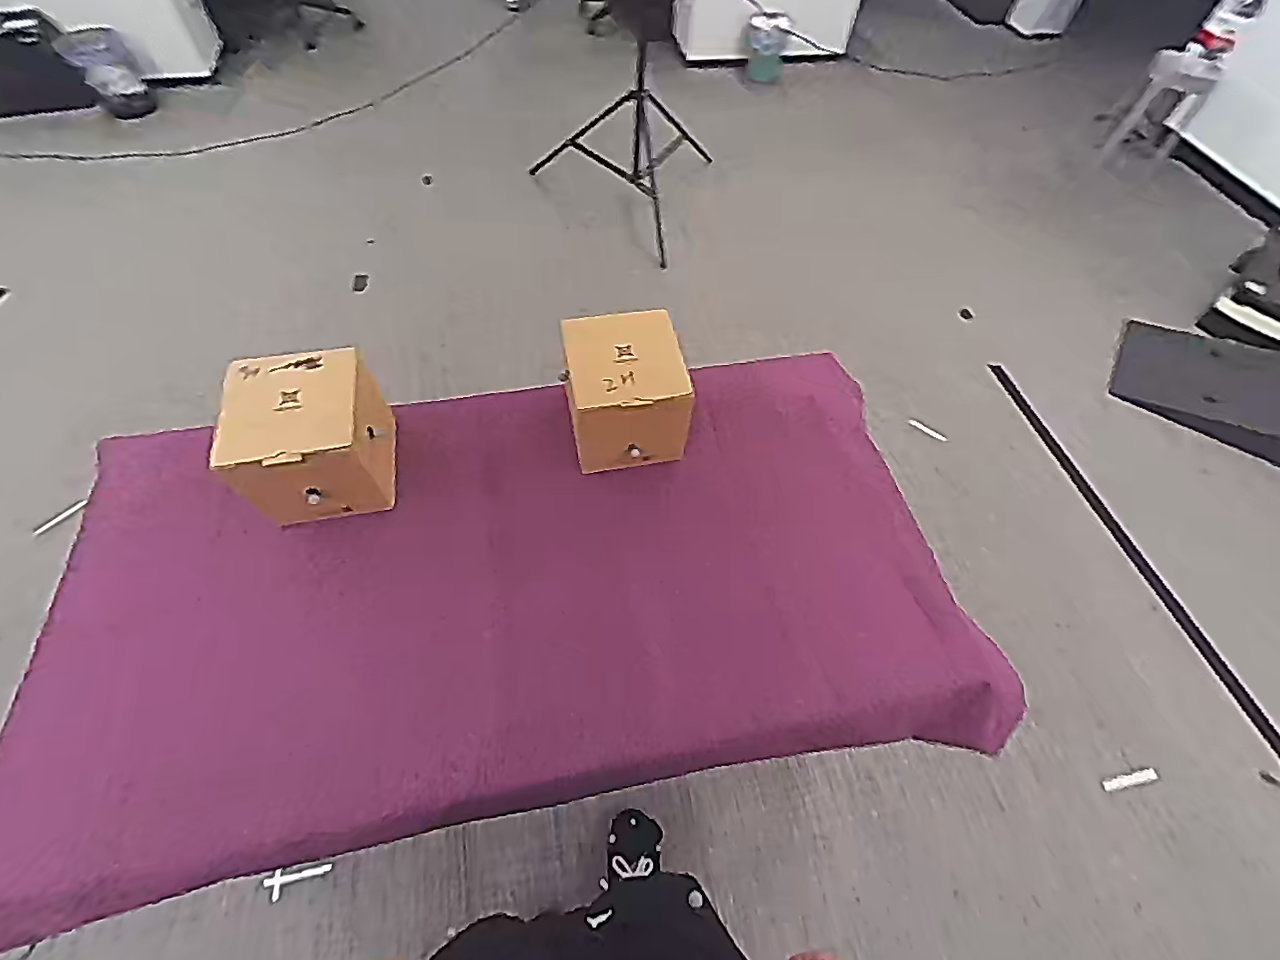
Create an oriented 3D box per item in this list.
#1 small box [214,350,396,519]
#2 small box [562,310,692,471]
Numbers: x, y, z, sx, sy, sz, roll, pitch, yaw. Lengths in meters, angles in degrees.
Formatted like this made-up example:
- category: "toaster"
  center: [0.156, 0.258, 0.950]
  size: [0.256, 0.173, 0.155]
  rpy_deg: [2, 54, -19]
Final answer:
- category: "small box"
  center: [-0.461, -0.056, 0.776]
  size: [0.168, 0.176, 0.179]
  rpy_deg: [-9, 61, -9]
- category: "small box"
  center: [-0.027, -0.138, 0.850]
  size: [0.168, 0.176, 0.179]
  rpy_deg: [-9, 61, -8]
